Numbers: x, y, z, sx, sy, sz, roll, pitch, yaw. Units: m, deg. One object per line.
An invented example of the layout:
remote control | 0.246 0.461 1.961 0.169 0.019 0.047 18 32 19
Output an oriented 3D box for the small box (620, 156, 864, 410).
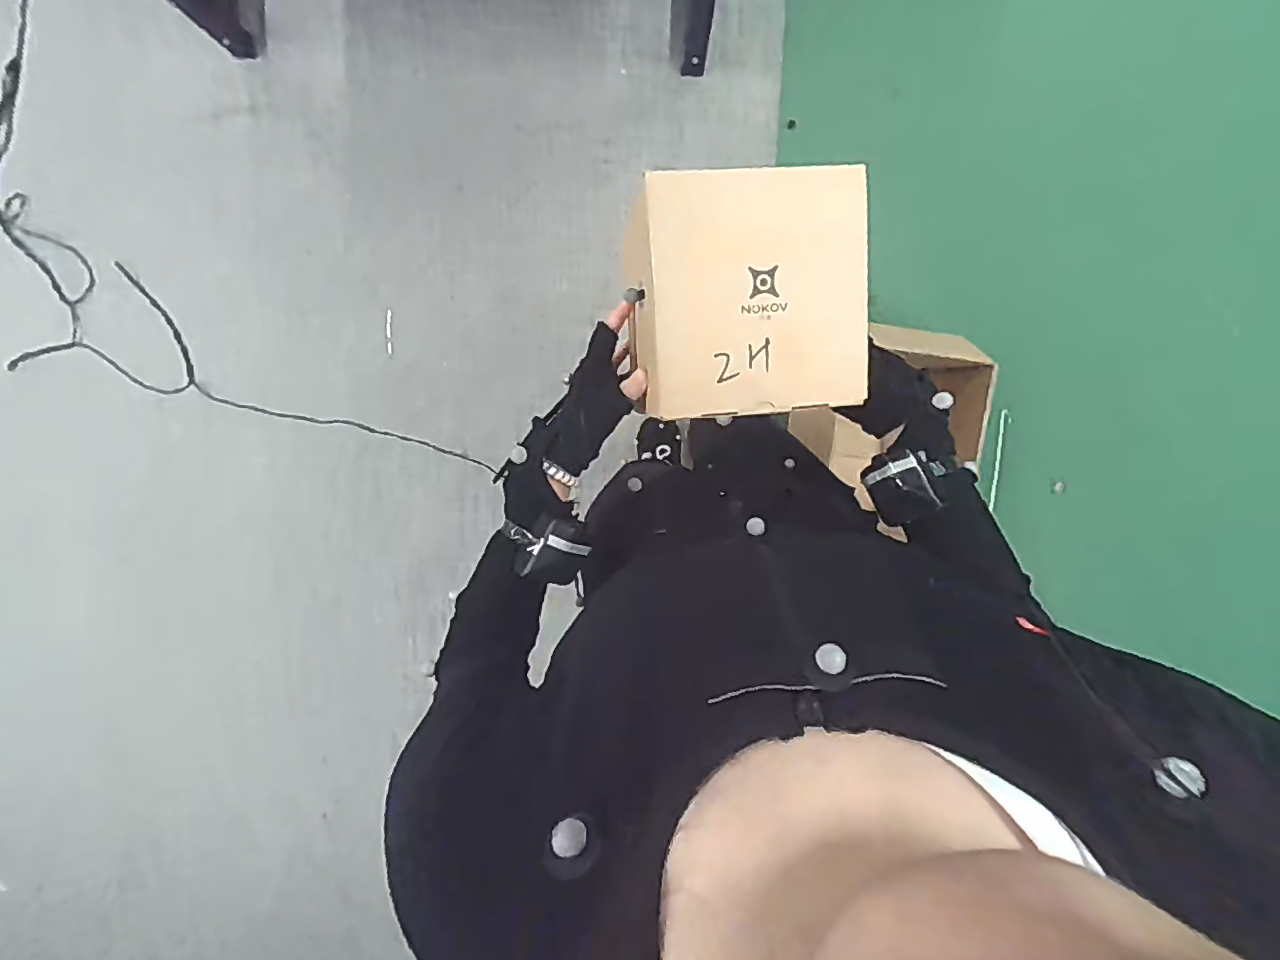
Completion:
small box | 0.075 -0.154 0.474 0.168 0.176 0.179 -5 100 -6
